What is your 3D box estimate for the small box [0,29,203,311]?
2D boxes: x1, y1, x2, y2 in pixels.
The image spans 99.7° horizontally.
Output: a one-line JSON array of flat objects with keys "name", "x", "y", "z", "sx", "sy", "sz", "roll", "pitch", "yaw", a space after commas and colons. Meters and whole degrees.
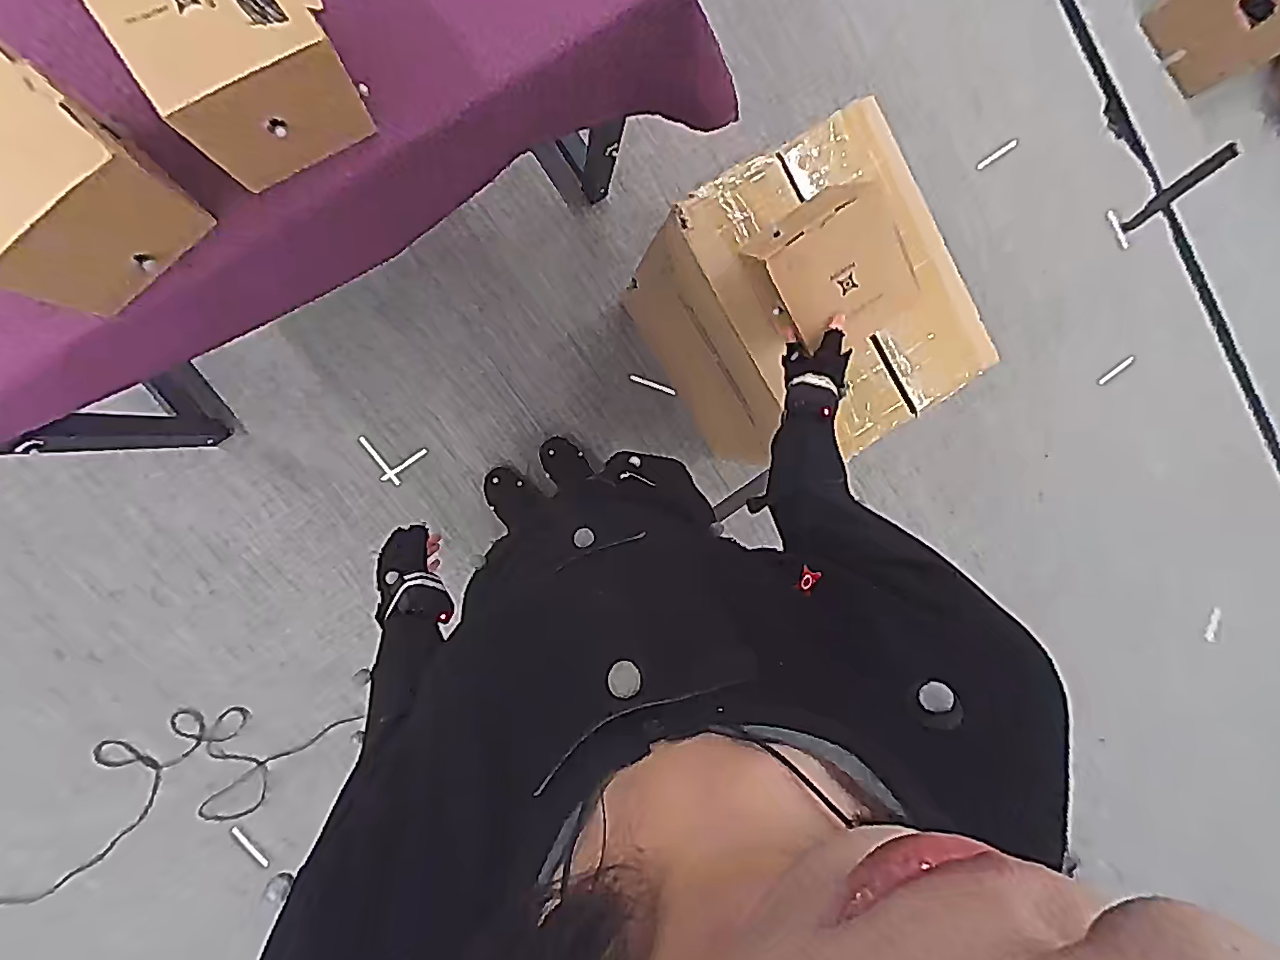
[{"name": "small box", "x": -0.618, "y": -0.311, "z": 0.568, "sx": 0.168, "sy": 0.176, "sz": 0.179, "roll": 45, "pitch": 85, "yaw": -9}]

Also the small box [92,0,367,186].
[{"name": "small box", "x": -0.430, "y": -0.465, "z": 0.589, "sx": 0.179, "sy": 0.176, "sz": 0.168, "roll": -31, "pitch": 98, "yaw": -5}]

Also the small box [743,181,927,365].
[{"name": "small box", "x": 0.270, "y": -0.300, "z": 0.784, "sx": 0.168, "sy": 0.176, "sz": 0.179, "roll": -32, "pitch": 115, "yaw": 13}]
